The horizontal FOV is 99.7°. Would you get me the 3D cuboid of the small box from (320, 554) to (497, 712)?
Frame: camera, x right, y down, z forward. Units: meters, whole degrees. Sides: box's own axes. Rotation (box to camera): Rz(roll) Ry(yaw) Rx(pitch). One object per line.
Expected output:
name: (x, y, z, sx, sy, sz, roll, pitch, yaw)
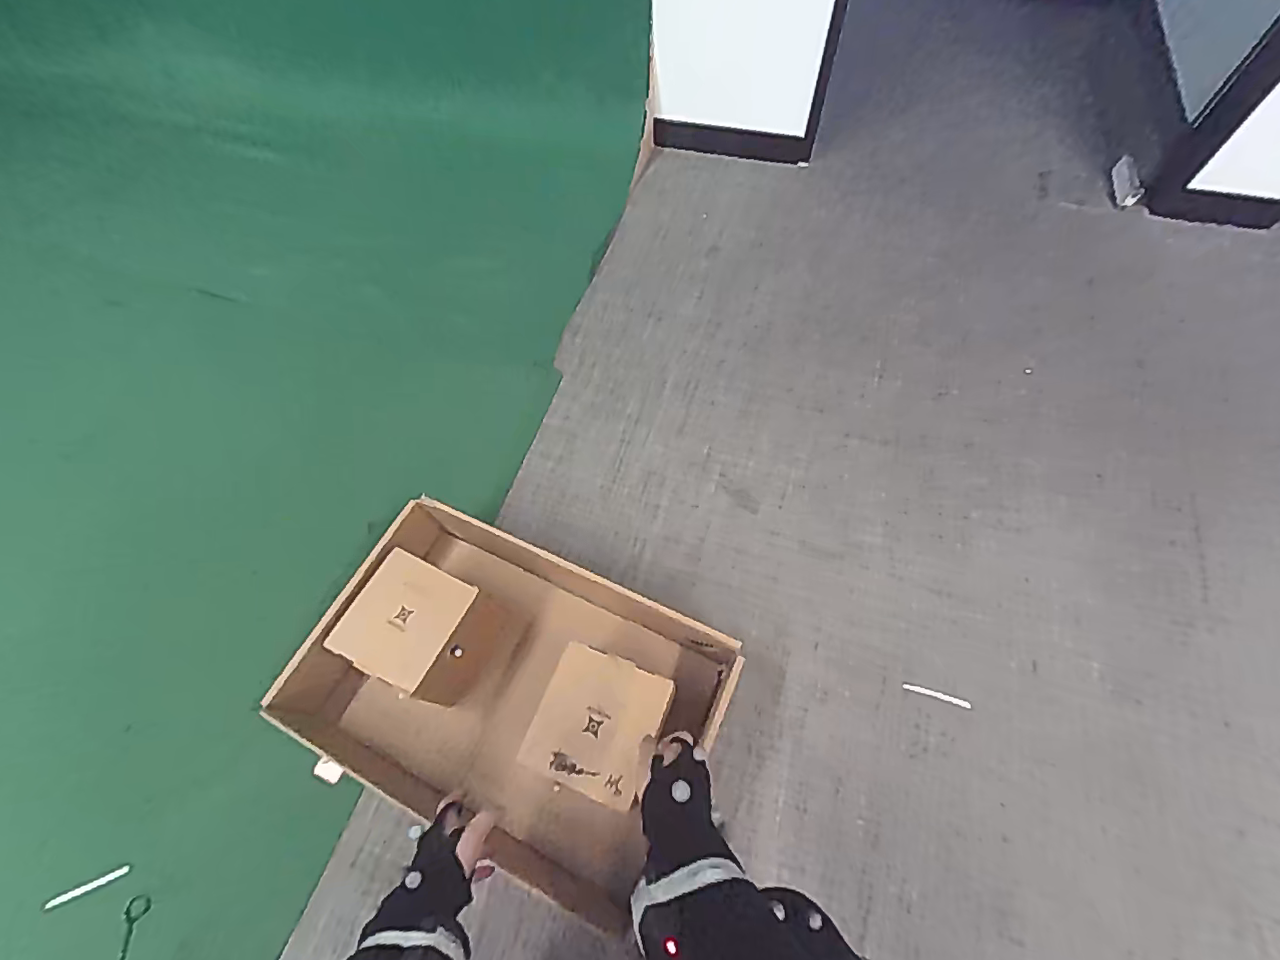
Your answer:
small box: (-0.357, 0.255, 0.875, 0.168, 0.176, 0.179, 25, 65, 13)
